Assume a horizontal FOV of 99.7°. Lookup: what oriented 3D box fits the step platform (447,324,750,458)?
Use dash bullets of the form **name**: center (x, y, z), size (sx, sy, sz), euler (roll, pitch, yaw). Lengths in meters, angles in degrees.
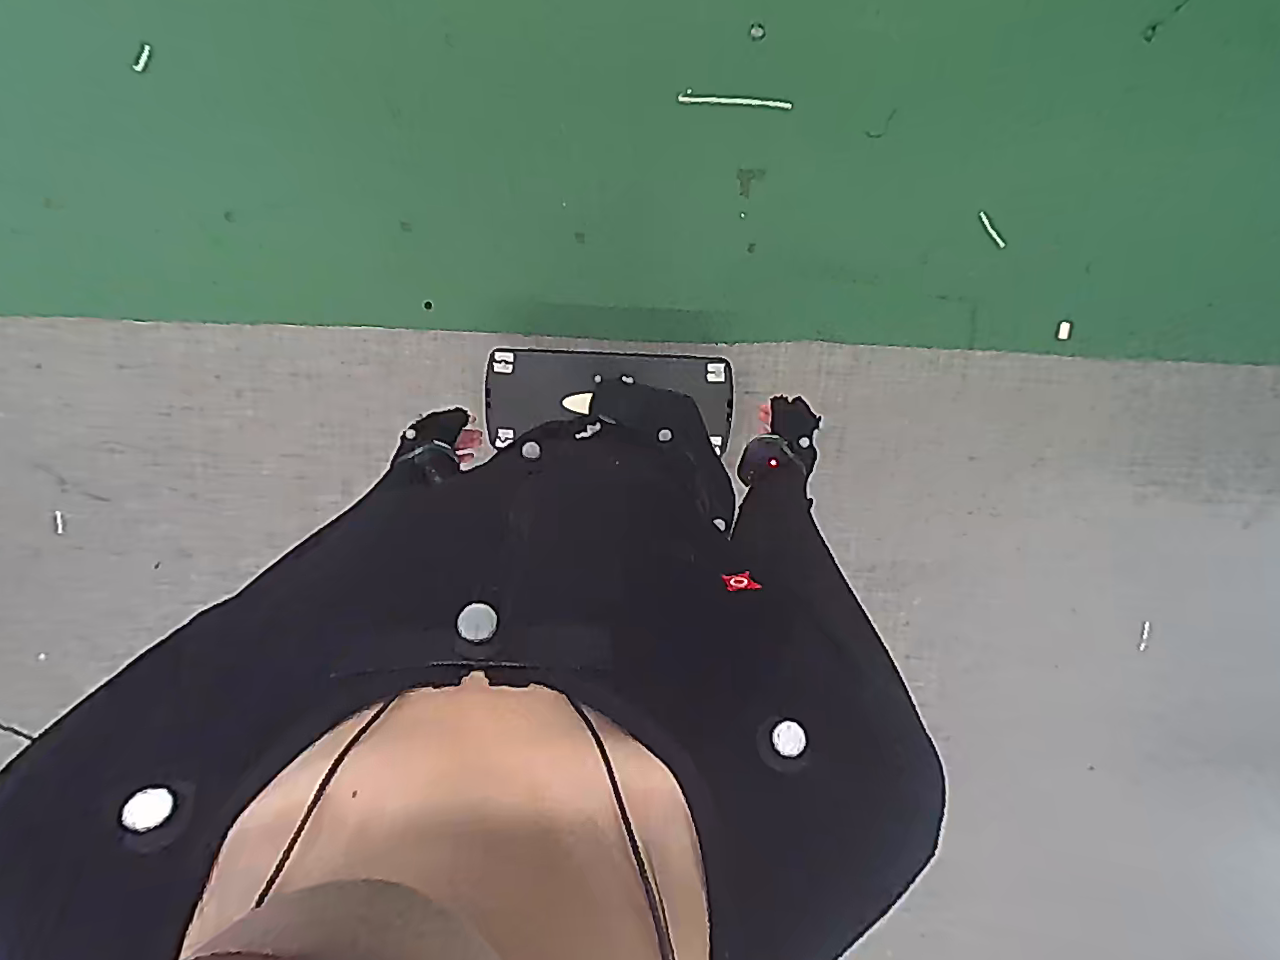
- **step platform**: center (-0.093, -0.213, 1.310), size (0.684, 0.204, 0.286), euler (2, 100, -1)
